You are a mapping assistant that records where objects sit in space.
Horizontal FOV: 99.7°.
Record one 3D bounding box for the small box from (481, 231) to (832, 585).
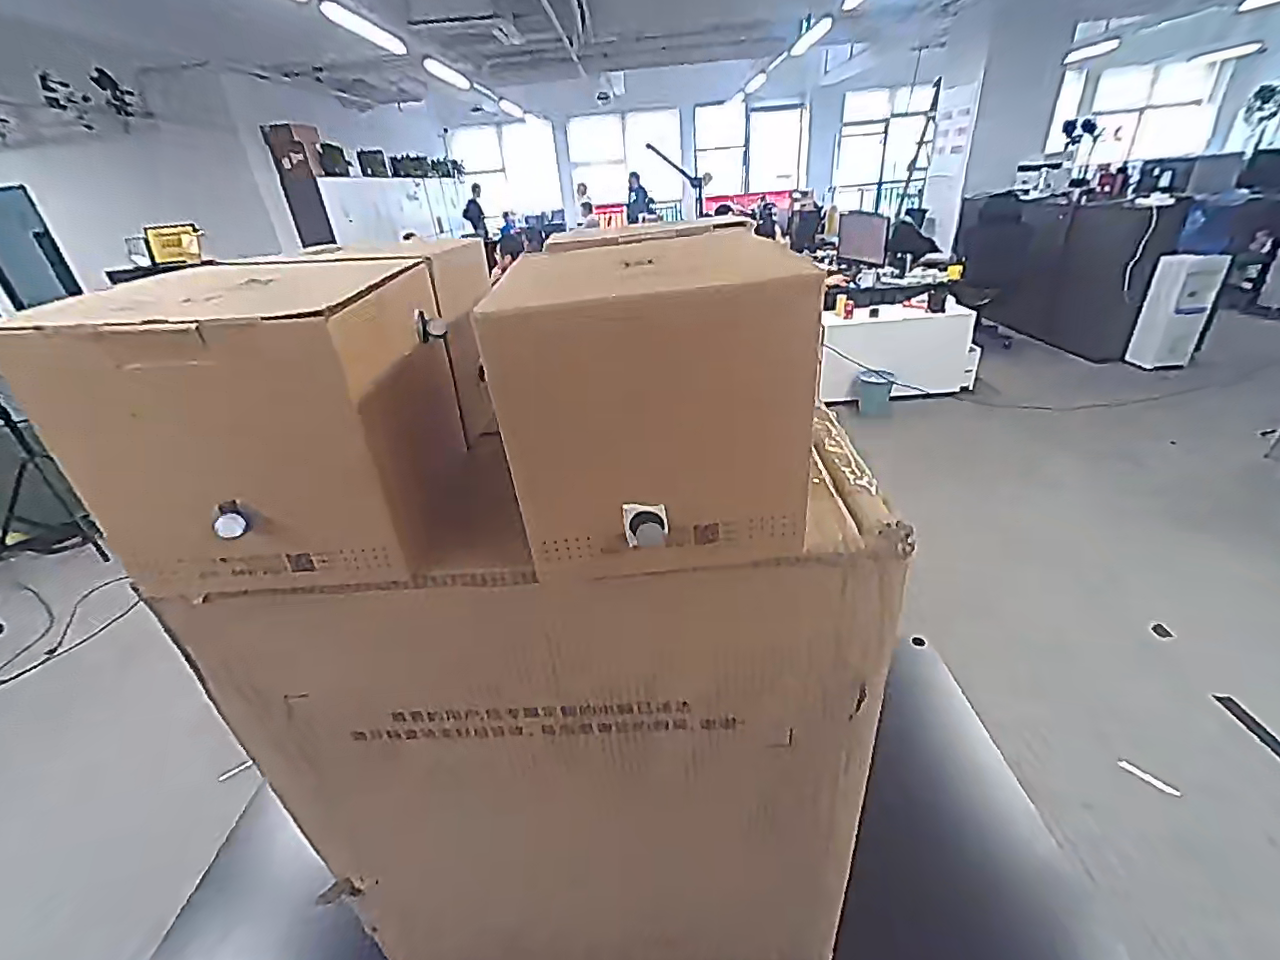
[{"bbox_3d":[0.010,-0.056,0.358,0.168,0.176,0.179,-8,32,0],"label":"small box"}]
